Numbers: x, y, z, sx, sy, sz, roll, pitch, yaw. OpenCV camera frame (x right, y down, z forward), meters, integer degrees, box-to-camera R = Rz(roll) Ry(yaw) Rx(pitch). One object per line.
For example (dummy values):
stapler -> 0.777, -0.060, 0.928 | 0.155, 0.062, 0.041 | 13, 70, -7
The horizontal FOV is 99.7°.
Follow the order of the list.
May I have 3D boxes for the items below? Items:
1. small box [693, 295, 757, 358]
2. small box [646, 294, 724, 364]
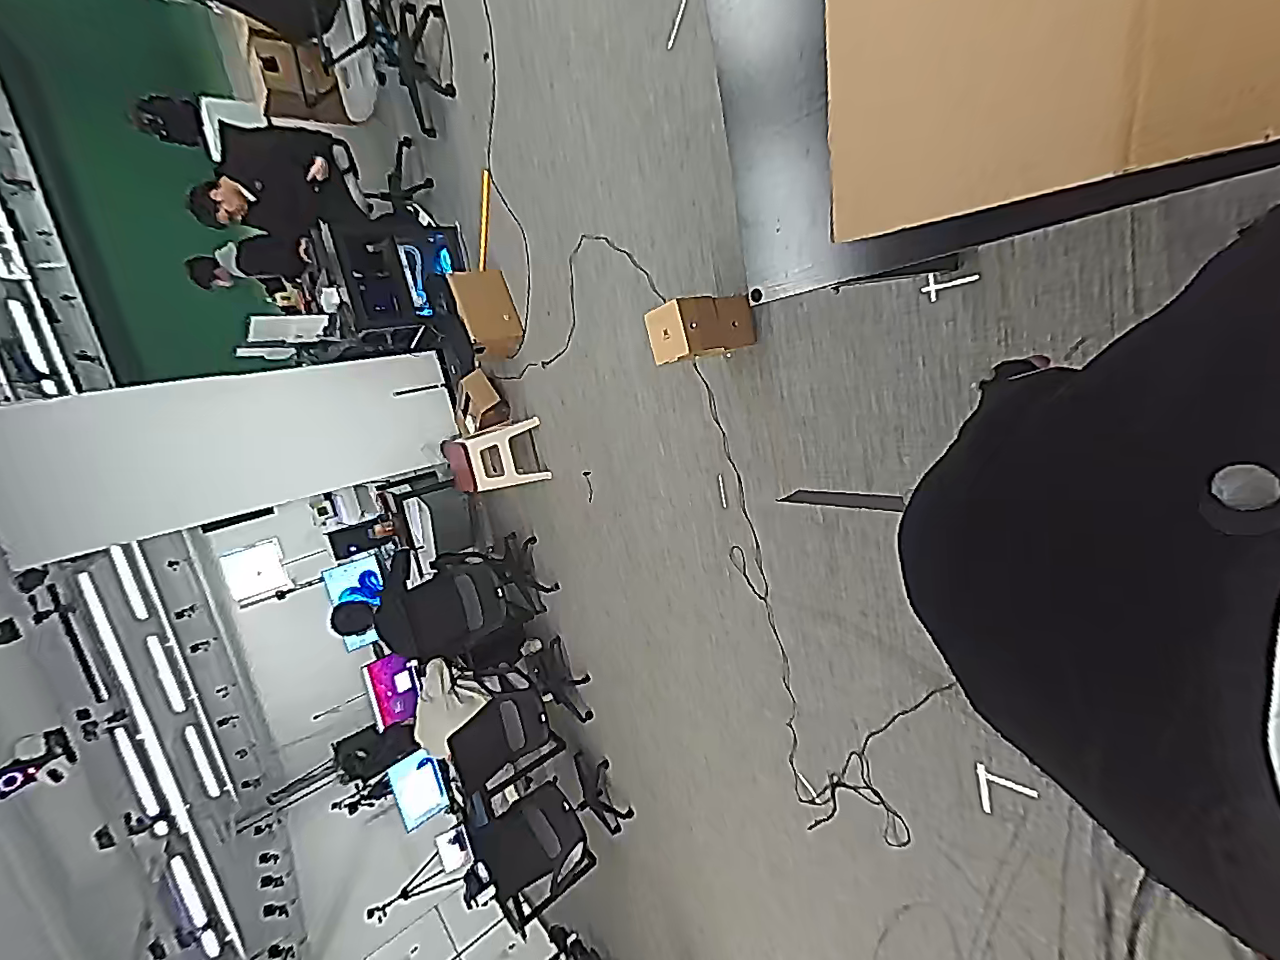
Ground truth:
small box -> 0.277, -0.531, 1.863 | 0.168, 0.176, 0.179 | -3, 104, 53
small box -> 0.151, -0.493, 1.767 | 0.168, 0.176, 0.179 | -7, 99, 53
